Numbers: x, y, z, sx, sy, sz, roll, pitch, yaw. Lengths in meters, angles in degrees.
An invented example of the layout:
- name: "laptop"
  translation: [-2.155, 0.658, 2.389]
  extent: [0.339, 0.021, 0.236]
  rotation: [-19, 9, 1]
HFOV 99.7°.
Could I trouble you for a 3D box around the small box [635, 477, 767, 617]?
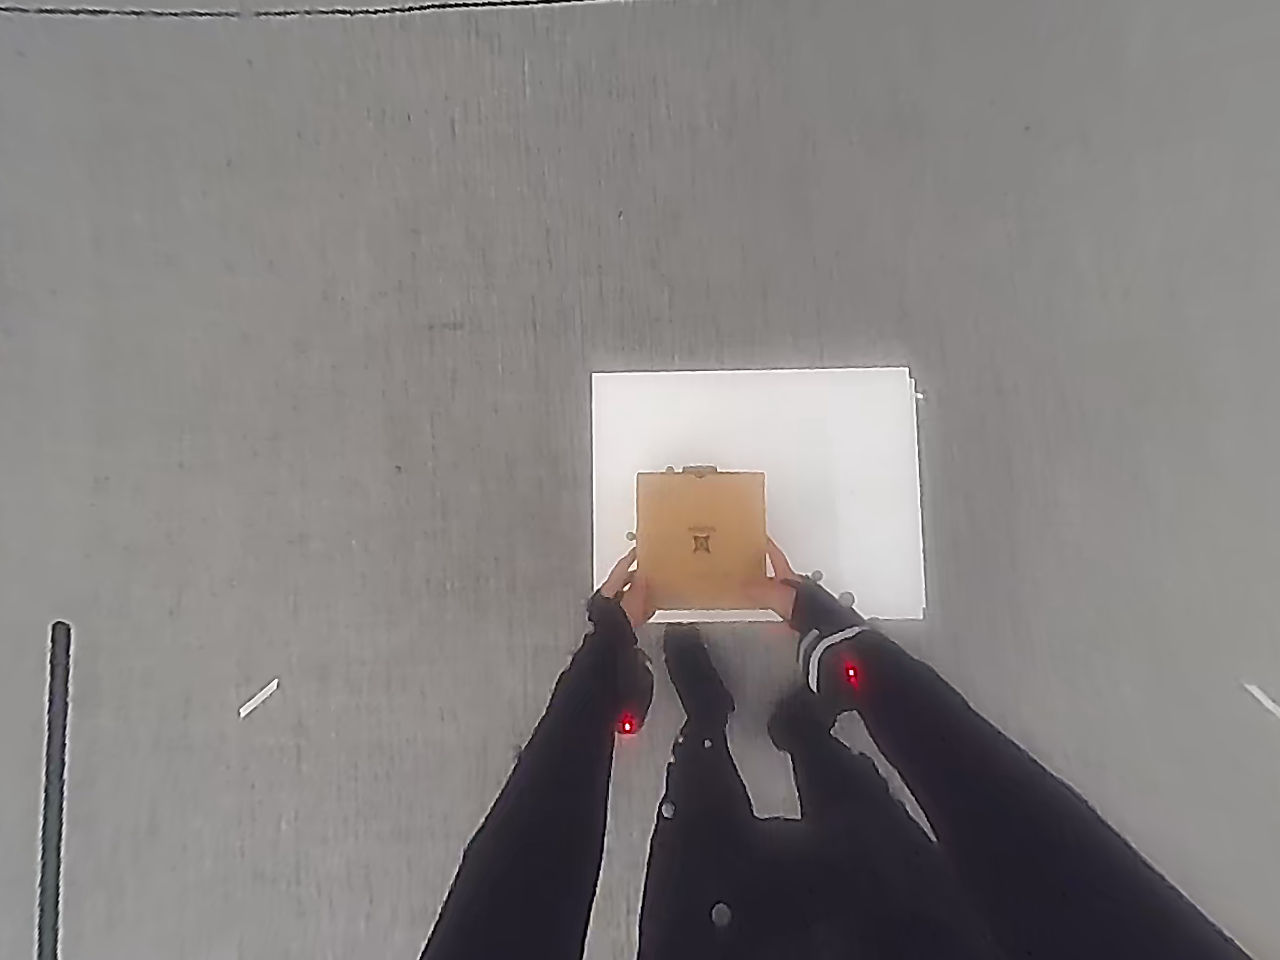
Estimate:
- name: "small box"
  translation: [0.077, 0.091, 0.757]
  extent: [0.168, 0.176, 0.179]
  rotation: [0, 84, 1]
